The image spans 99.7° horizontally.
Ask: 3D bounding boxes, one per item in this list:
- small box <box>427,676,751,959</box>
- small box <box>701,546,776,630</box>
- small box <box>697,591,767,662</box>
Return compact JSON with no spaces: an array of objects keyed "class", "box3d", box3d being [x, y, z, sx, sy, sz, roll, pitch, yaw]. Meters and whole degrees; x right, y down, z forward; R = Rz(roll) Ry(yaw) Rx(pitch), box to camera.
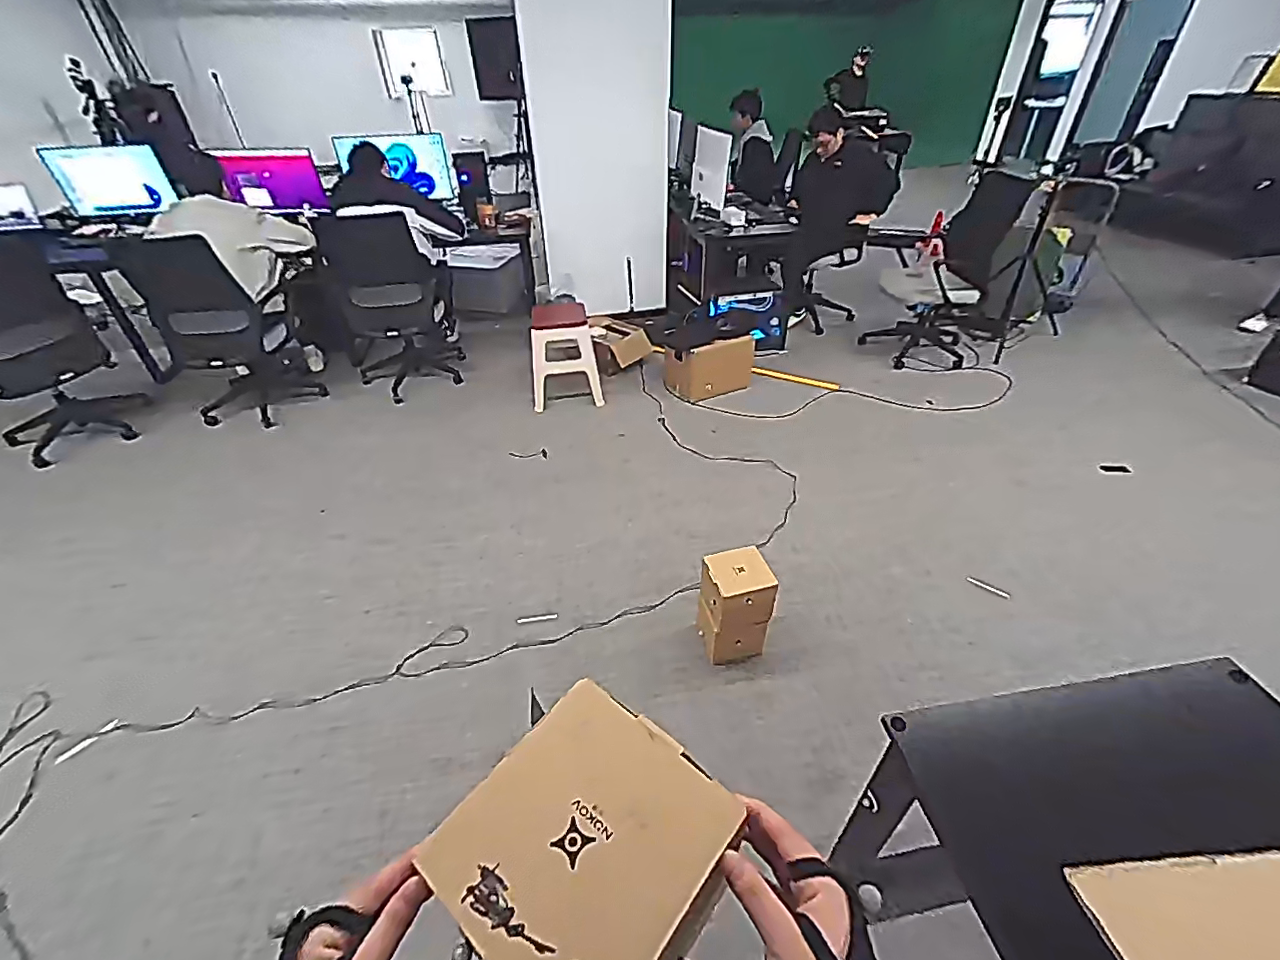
[{"class":"small box","box3d":[-0.032,0.306,0.434,0.168,0.176,0.179,26,47,31]},{"class":"small box","box3d":[0.293,0.333,1.654,0.179,0.176,0.168,-10,39,-12]},{"class":"small box","box3d":[0.290,0.463,1.753,0.179,0.176,0.168,-10,38,-9]}]
